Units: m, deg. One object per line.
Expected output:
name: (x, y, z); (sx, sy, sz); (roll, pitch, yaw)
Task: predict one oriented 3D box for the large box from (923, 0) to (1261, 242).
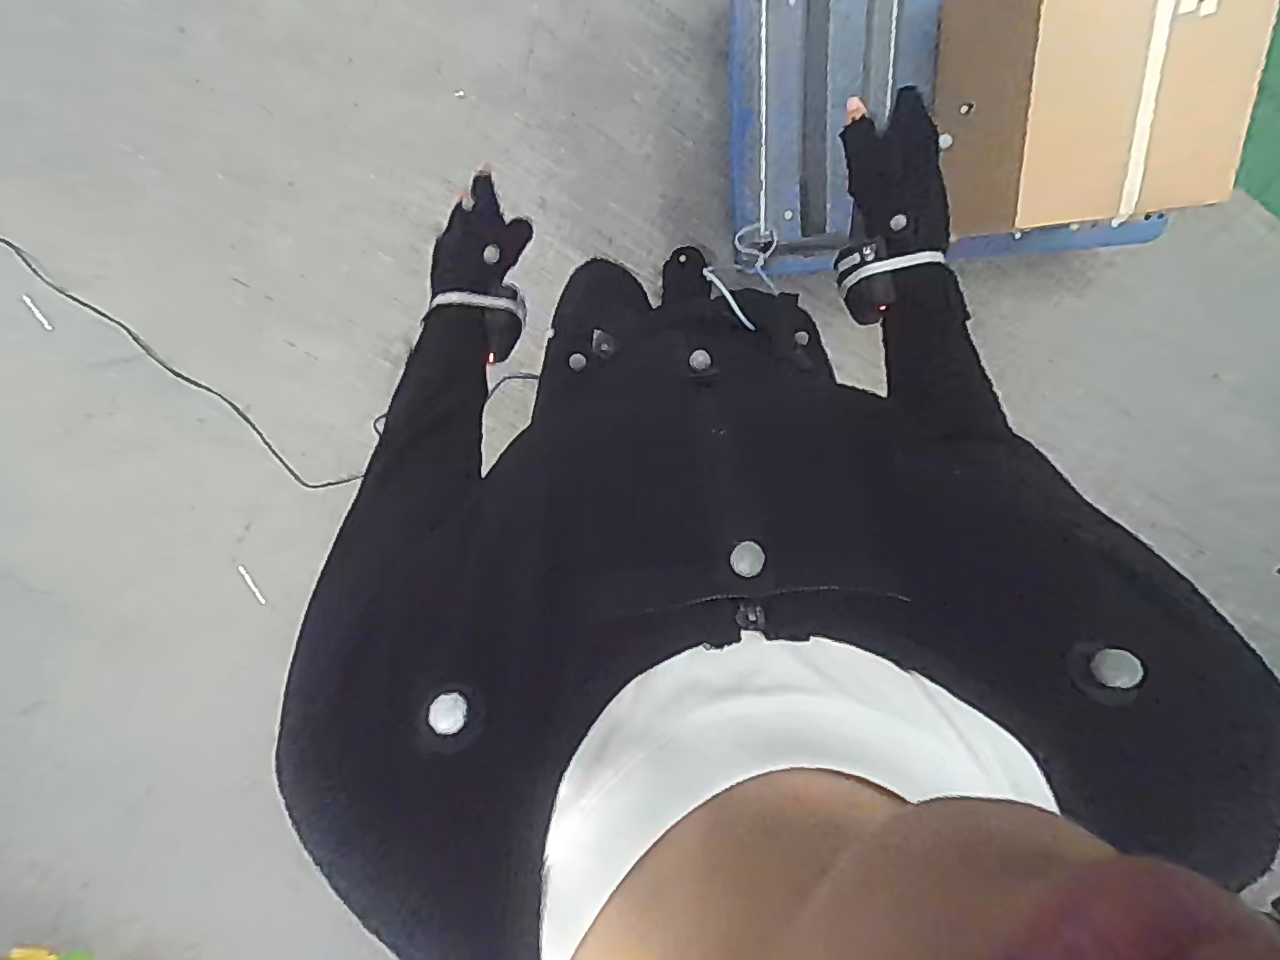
large box: (0.697, -0.638, 0.894); (0.320, 0.320, 0.408); (-5, 110, 4)
